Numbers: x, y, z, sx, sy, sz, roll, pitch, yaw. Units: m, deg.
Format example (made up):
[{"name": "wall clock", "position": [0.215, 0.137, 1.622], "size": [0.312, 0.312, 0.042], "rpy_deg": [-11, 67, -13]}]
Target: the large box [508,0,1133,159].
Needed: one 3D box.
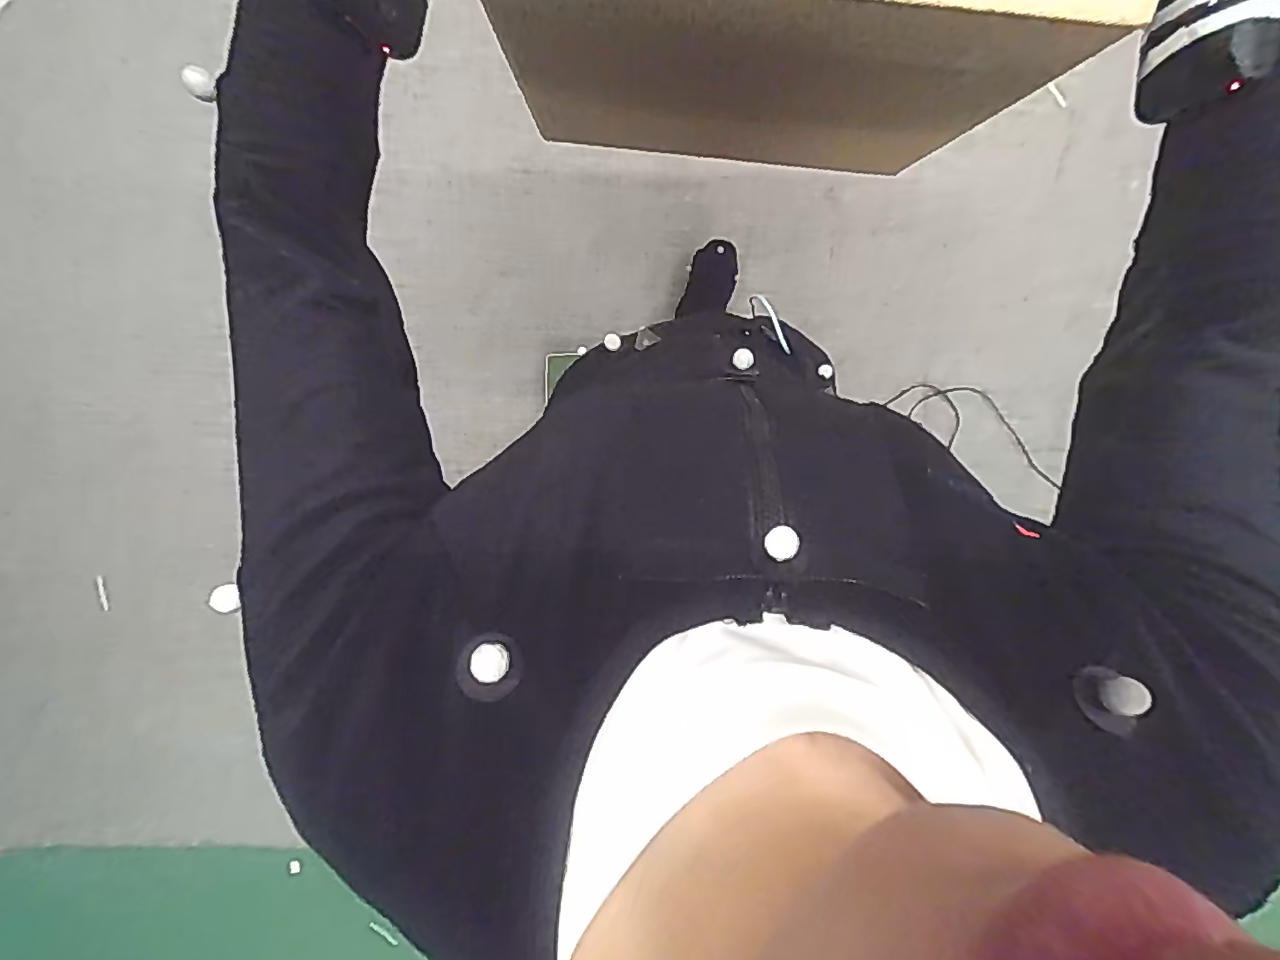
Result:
[{"name": "large box", "position": [0.109, -0.482, 0.427], "size": [0.408, 0.320, 0.320], "rpy_deg": [3, 106, -3]}]
